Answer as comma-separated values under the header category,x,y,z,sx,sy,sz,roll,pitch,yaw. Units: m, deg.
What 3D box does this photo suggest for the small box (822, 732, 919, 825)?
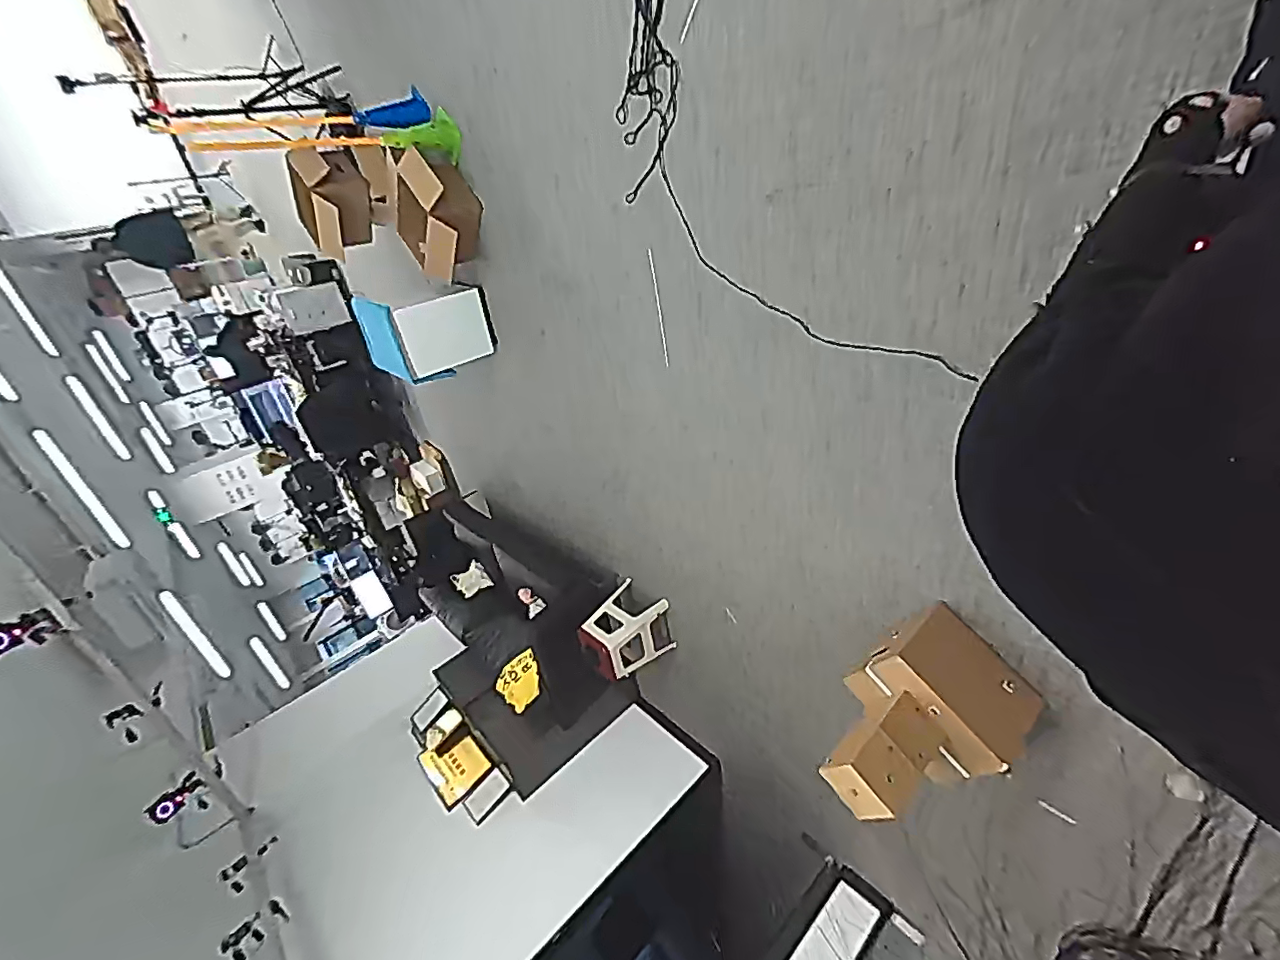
category,x,y,z,sx,sy,sz,roll,pitch,yaw
small box,0.672,0.860,1.564,0.168,0.176,0.179,49,148,18
